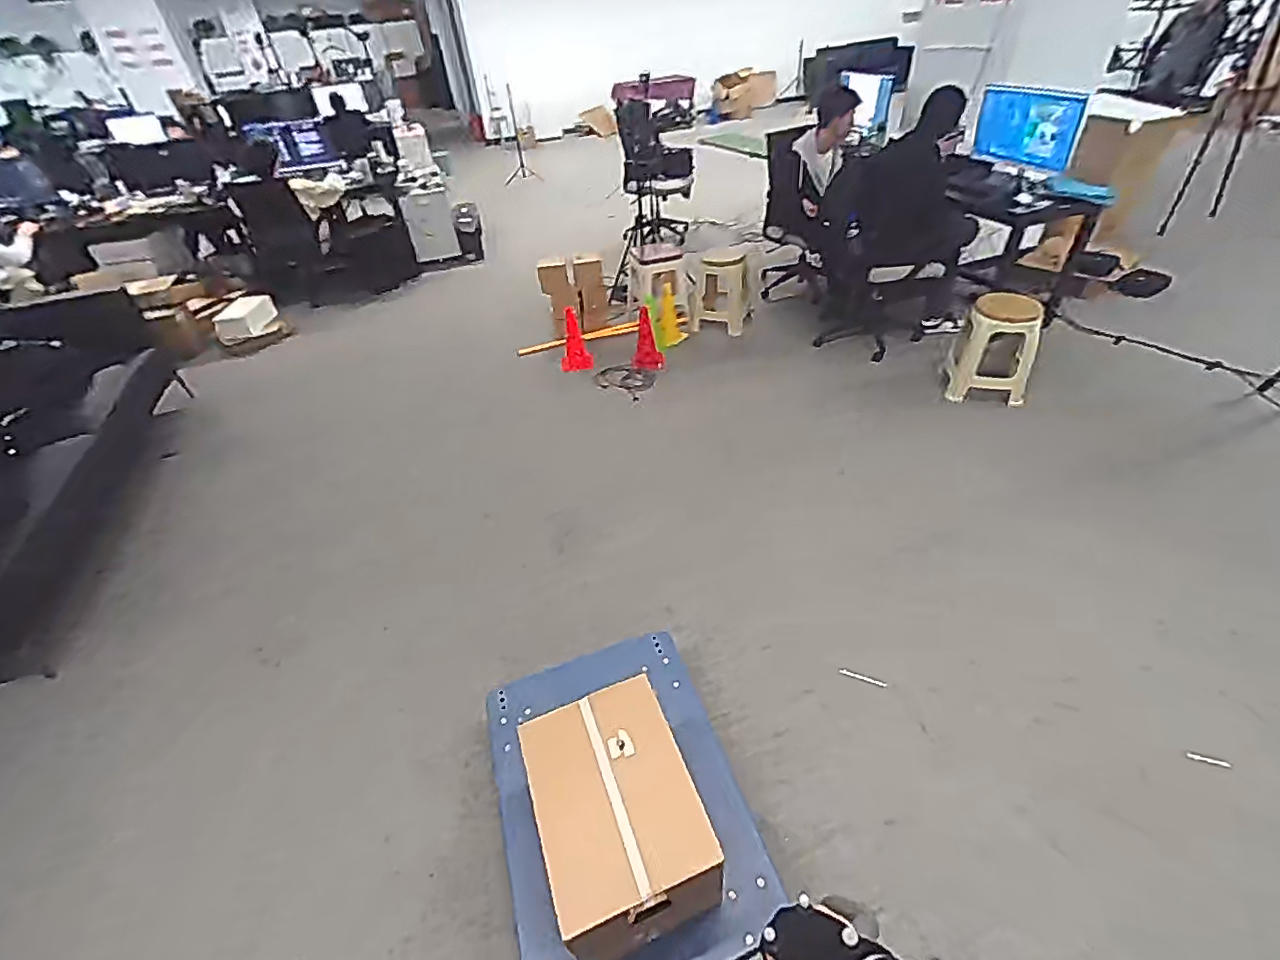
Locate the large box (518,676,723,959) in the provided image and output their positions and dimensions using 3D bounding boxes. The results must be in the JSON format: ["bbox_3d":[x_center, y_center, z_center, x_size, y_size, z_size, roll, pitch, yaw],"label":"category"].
[{"bbox_3d":[-0.043,0.736,1.201,0.320,0.320,0.408,-18,42,-13],"label":"large box"}]
